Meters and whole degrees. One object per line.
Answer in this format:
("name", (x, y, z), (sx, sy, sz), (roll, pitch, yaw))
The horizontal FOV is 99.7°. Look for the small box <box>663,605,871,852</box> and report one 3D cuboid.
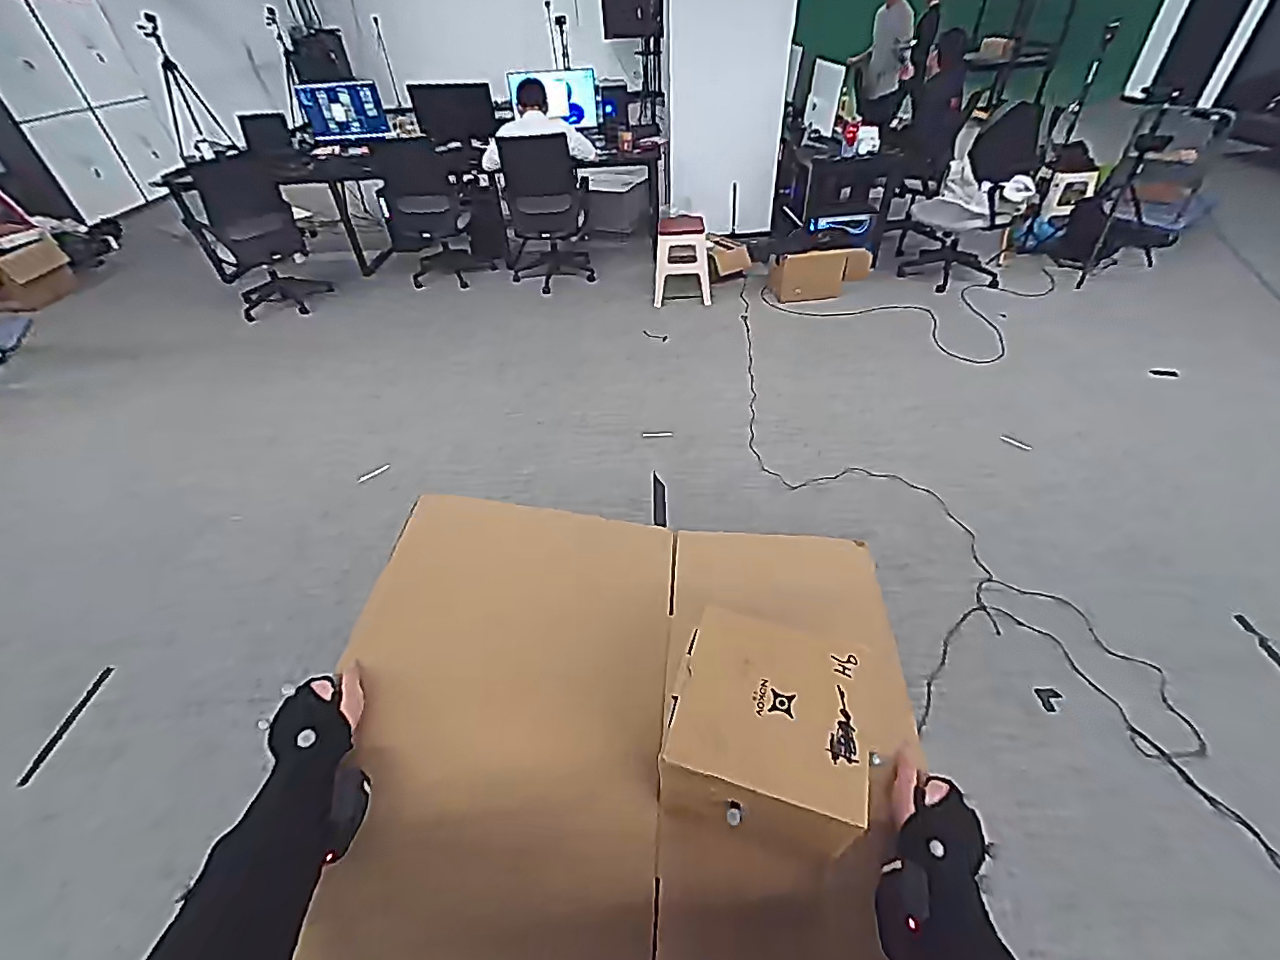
("small box", (0.133, 0.263, 0.572), (0.179, 0.176, 0.168), (10, 48, 15))
